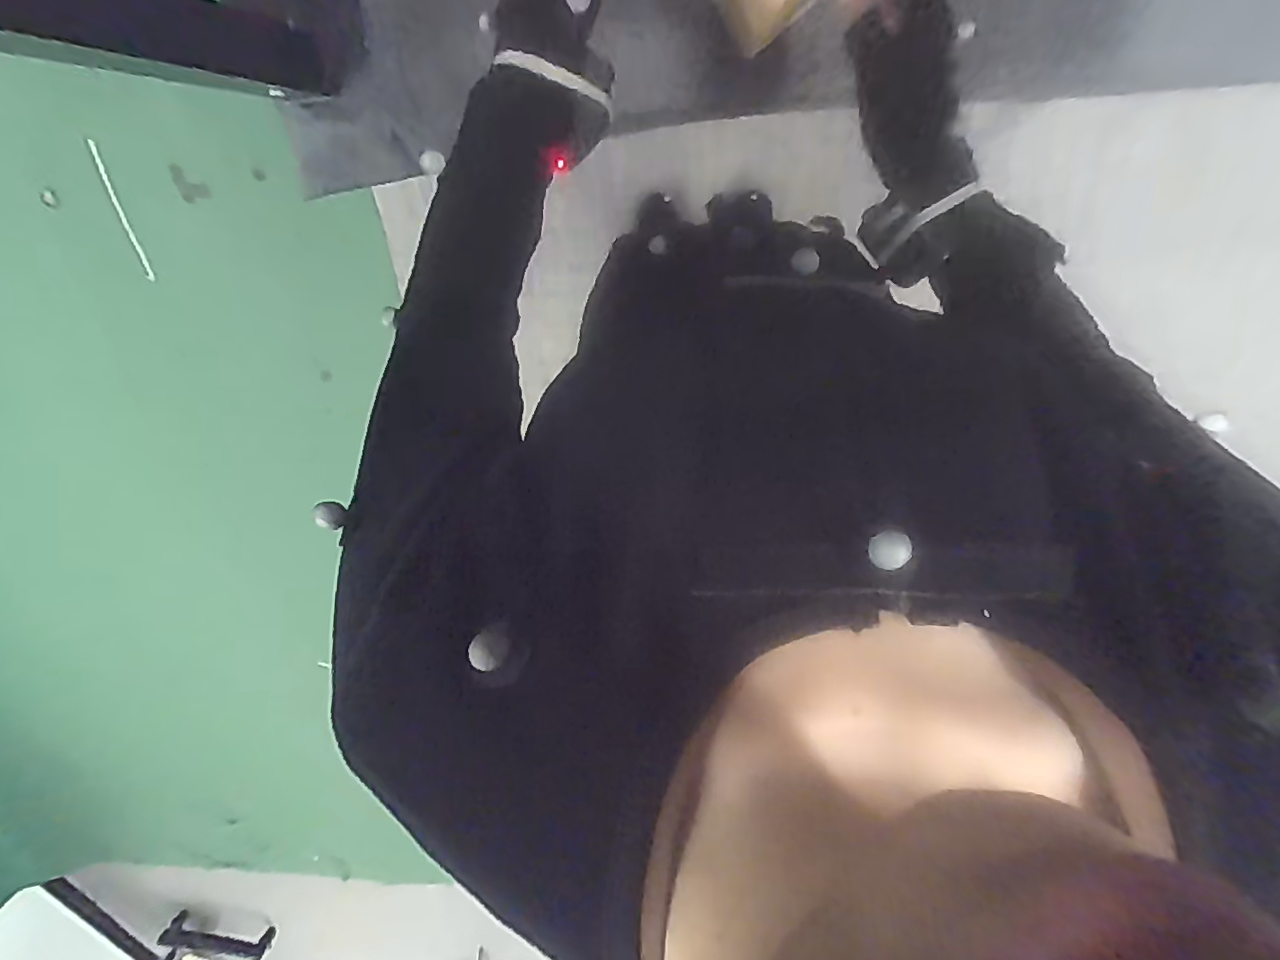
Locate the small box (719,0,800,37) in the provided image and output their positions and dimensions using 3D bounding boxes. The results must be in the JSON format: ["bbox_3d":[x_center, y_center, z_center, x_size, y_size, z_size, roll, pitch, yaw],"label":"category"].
[{"bbox_3d":[0.111,-0.485,0.399,0.168,0.176,0.179,-31,112,19],"label":"small box"}]
